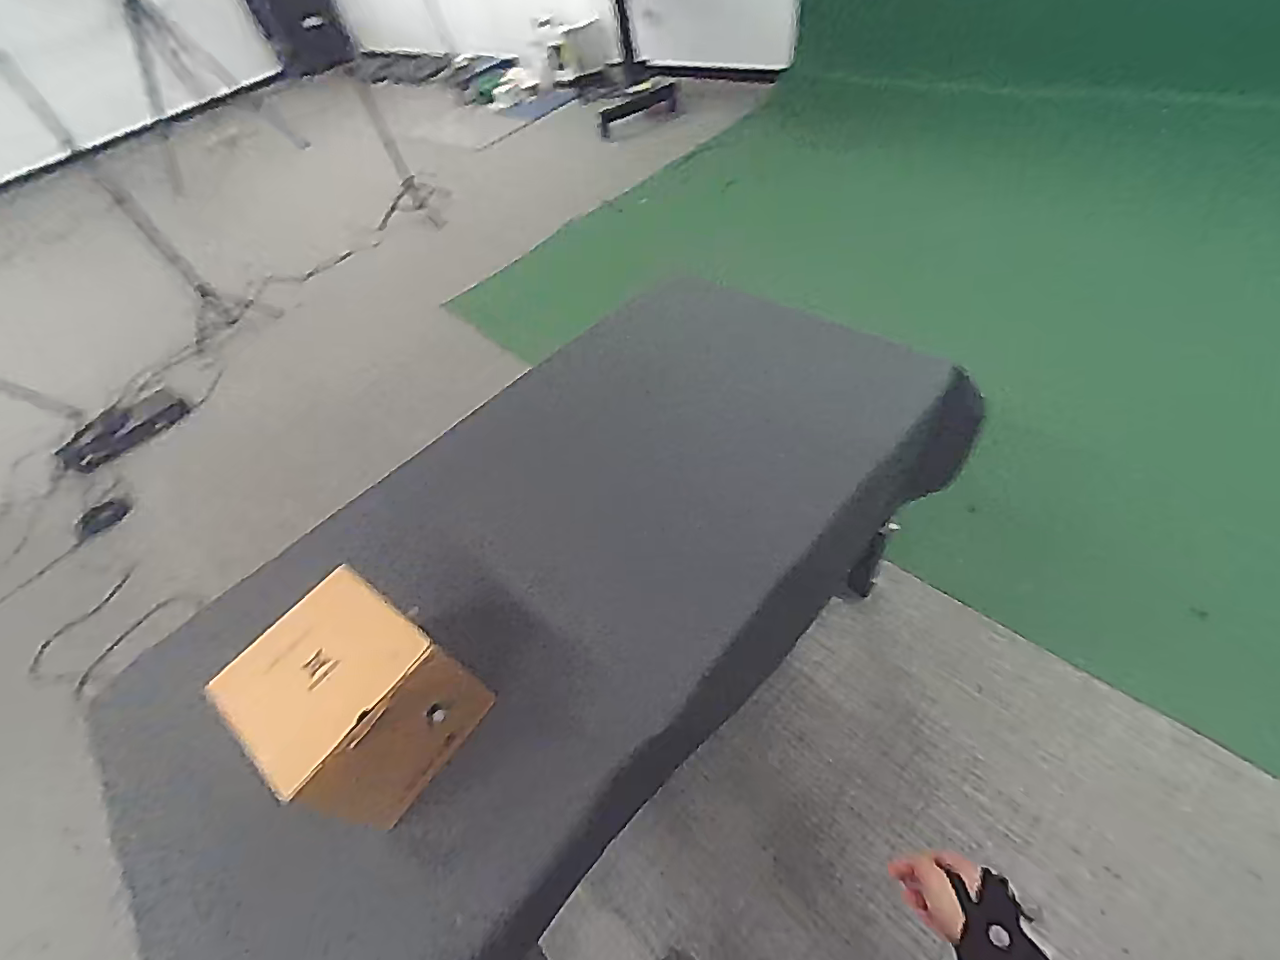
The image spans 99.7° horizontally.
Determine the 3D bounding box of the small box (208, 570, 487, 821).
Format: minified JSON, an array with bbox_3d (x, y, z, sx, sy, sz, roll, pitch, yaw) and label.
[{"bbox_3d":[-0.300,0.236,0.588,0.179,0.176,0.168,24,58,30],"label":"small box"}]
